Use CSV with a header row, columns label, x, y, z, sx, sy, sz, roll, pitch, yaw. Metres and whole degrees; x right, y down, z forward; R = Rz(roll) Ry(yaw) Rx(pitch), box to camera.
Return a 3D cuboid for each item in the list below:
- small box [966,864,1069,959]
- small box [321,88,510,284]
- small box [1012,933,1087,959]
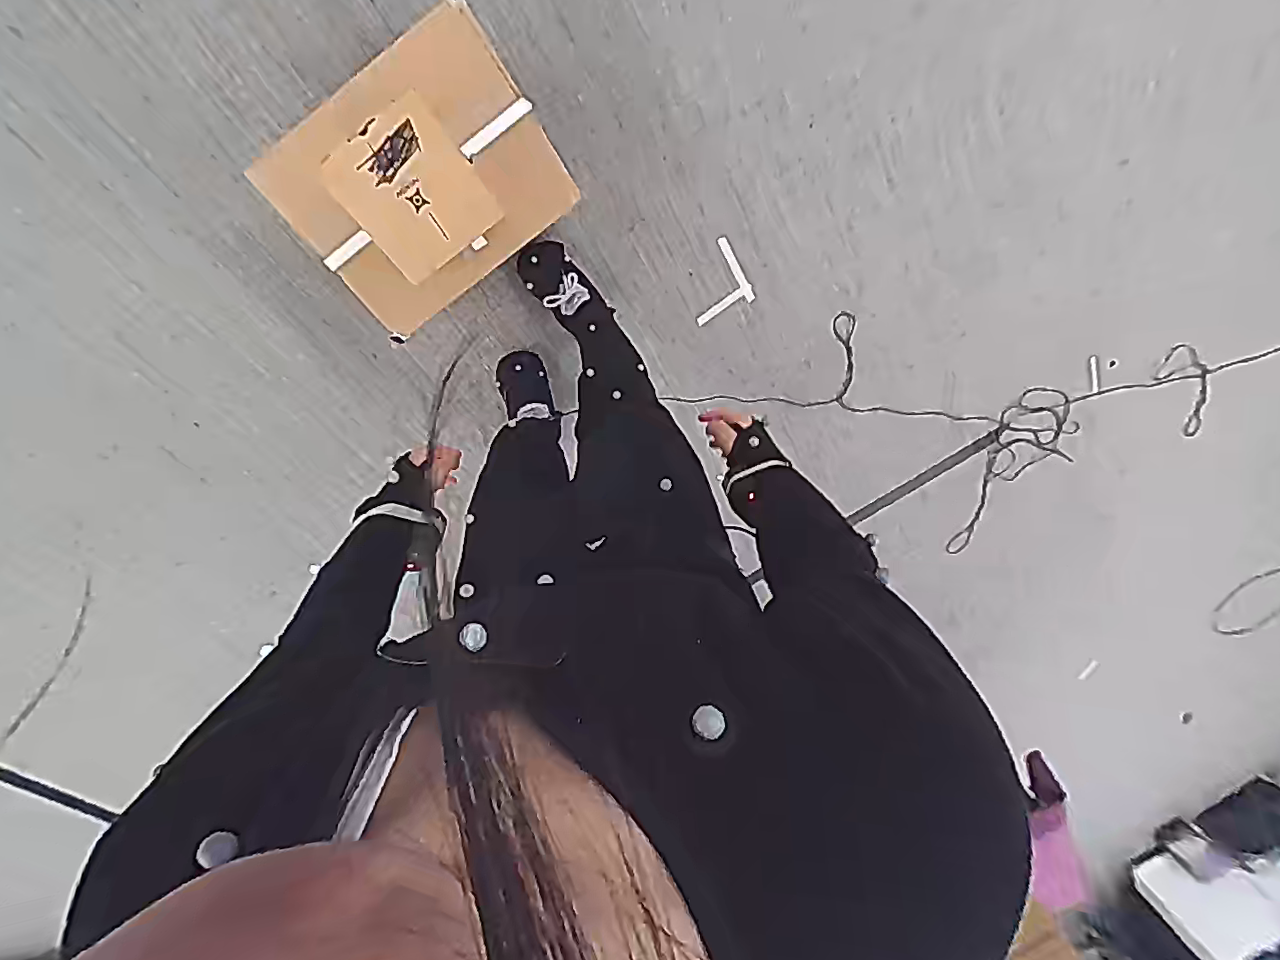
label,x,y,z,sx,sy,sz,roll,pitch,yaw
small box,1.037,1.200,1.487,0.168,0.176,0.179,-36,121,7
small box,-0.309,-0.414,0.780,0.168,0.176,0.179,-35,121,6
small box,1.067,1.272,1.344,0.168,0.176,0.179,-37,121,8
